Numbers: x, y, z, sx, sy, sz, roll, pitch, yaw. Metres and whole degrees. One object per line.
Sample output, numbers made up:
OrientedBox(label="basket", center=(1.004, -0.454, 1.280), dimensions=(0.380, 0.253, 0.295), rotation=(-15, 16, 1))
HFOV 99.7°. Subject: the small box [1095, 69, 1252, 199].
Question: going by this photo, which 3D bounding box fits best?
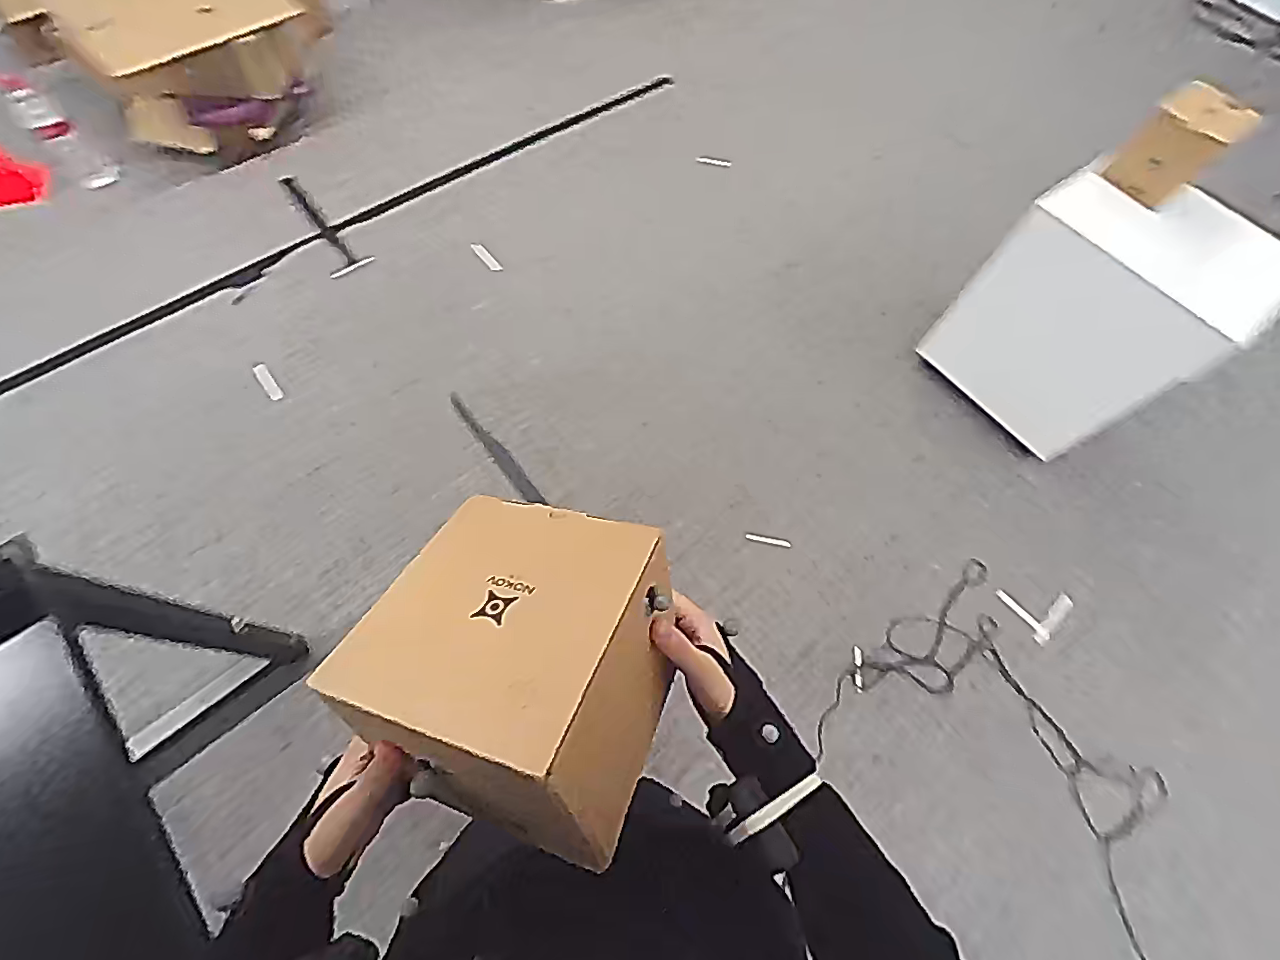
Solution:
OrientedBox(label="small box", center=(1.230, -0.801, 1.264), dimensions=(0.179, 0.176, 0.168), rotation=(-36, 74, -15))
